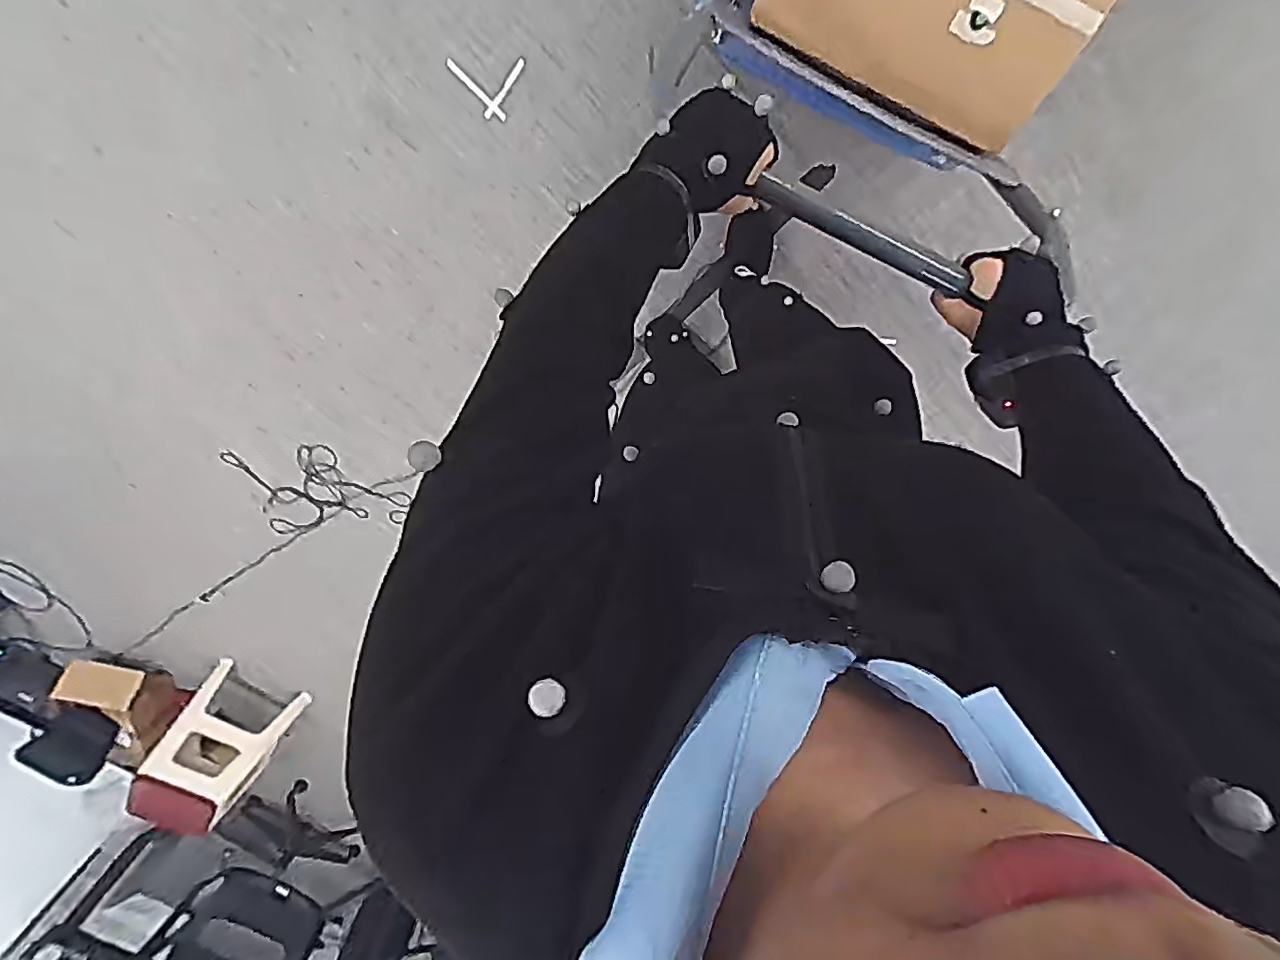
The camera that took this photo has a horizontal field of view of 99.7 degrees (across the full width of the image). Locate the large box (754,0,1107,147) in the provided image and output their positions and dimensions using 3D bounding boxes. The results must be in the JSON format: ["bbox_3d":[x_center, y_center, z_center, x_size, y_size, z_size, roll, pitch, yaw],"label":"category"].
[{"bbox_3d":[0.410,-0.750,0.771,0.408,0.320,0.320,22,133,-7],"label":"large box"}]
